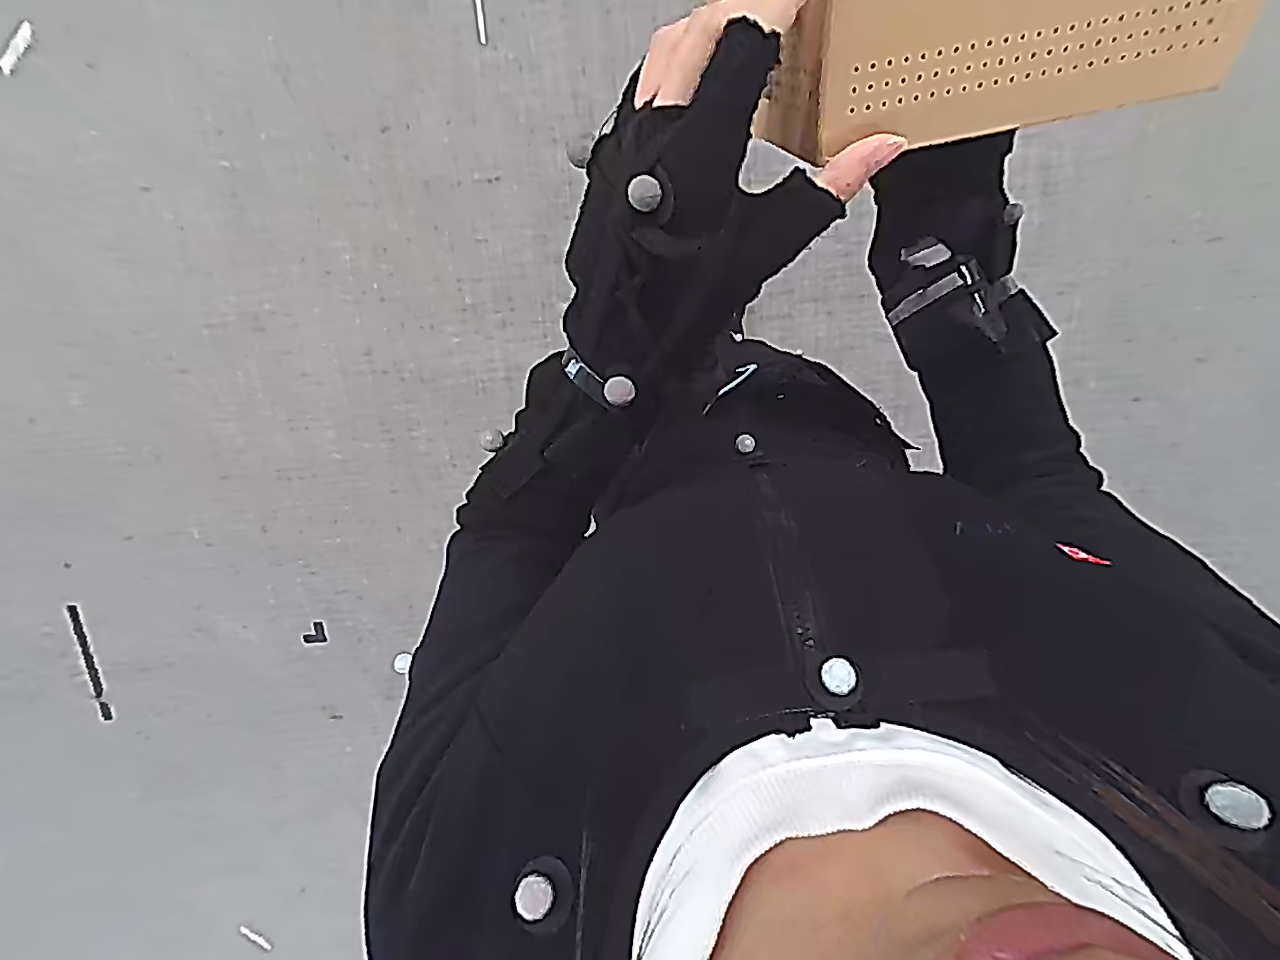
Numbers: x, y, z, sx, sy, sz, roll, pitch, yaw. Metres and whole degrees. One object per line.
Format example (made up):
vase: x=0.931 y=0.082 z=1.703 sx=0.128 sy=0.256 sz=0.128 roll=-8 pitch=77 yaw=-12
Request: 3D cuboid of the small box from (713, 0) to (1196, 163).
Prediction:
small box: x=0.132 y=-0.265 z=0.243 sx=0.179 sy=0.168 sz=0.176 roll=-12 pitch=131 yaw=-1
